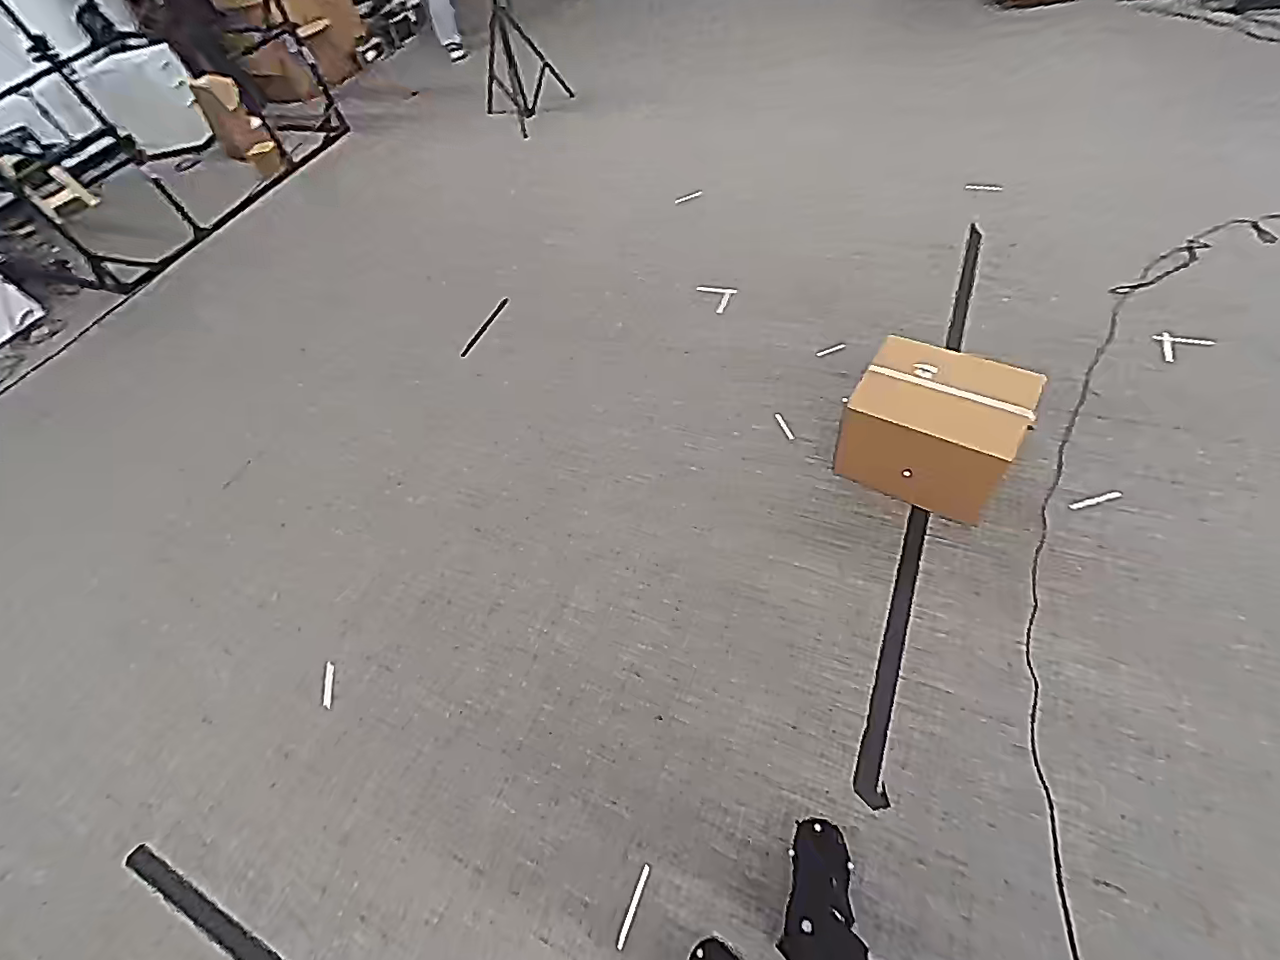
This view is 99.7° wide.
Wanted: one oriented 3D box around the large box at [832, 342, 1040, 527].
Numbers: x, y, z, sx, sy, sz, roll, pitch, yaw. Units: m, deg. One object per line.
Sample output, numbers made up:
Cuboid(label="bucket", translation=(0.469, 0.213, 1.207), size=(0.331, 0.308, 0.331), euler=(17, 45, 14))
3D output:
Cuboid(label="large box", translation=(0.806, -0.129, 1.520), size=(0.408, 0.320, 0.320), euler=(25, 63, 28))
